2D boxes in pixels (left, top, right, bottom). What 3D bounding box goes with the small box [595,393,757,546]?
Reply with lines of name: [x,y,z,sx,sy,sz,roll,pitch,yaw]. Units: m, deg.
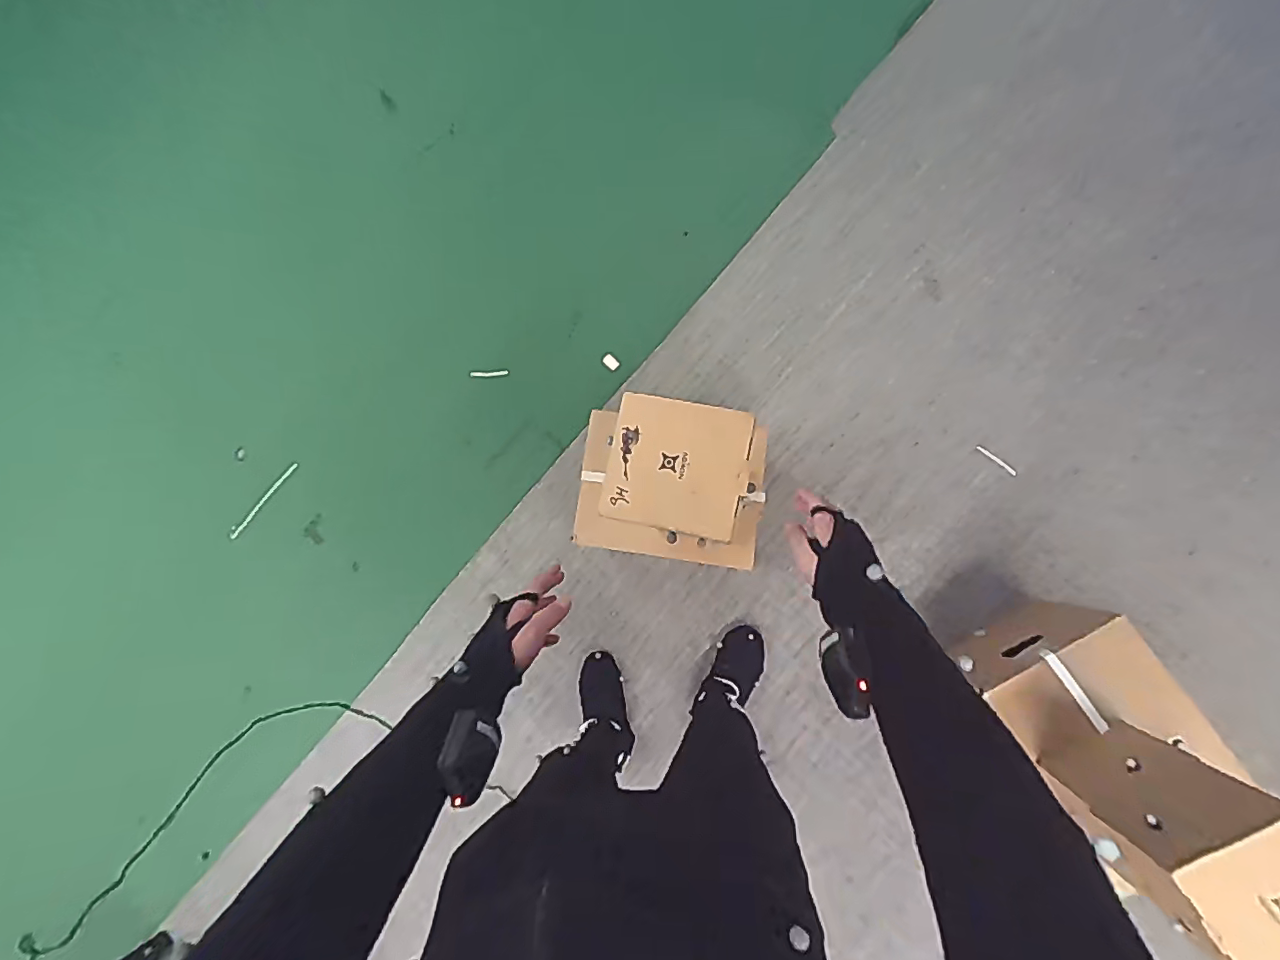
small box: [0.056,-0.008,0.756,0.179,0.176,0.168,12,85,10]

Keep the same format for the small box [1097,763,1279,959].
small box: [0.782,0.527,0.735,0.179,0.176,0.168,-31,80,6]

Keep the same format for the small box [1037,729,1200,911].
small box: [0.818,0.544,0.892,0.179,0.176,0.168,-30,79,7]

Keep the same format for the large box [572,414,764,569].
large box: [0.087,0.035,1.333,0.408,0.320,0.320,7,83,12]
